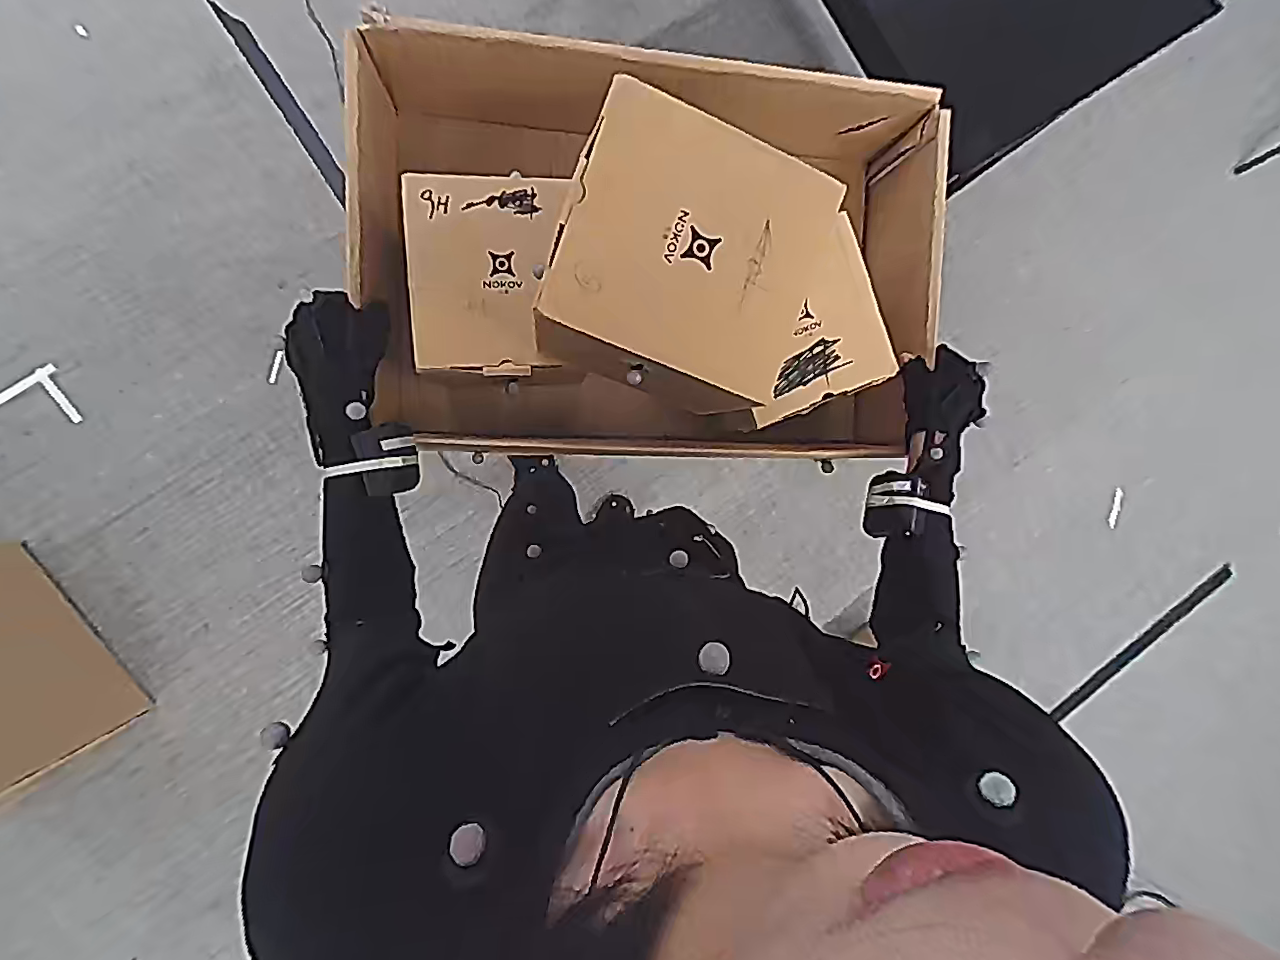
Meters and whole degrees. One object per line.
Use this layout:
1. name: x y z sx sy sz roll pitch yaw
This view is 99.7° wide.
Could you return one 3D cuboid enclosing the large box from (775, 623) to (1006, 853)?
1. large box: 0.652 0.661 1.459 0.408 0.320 0.320 -37 93 -7
